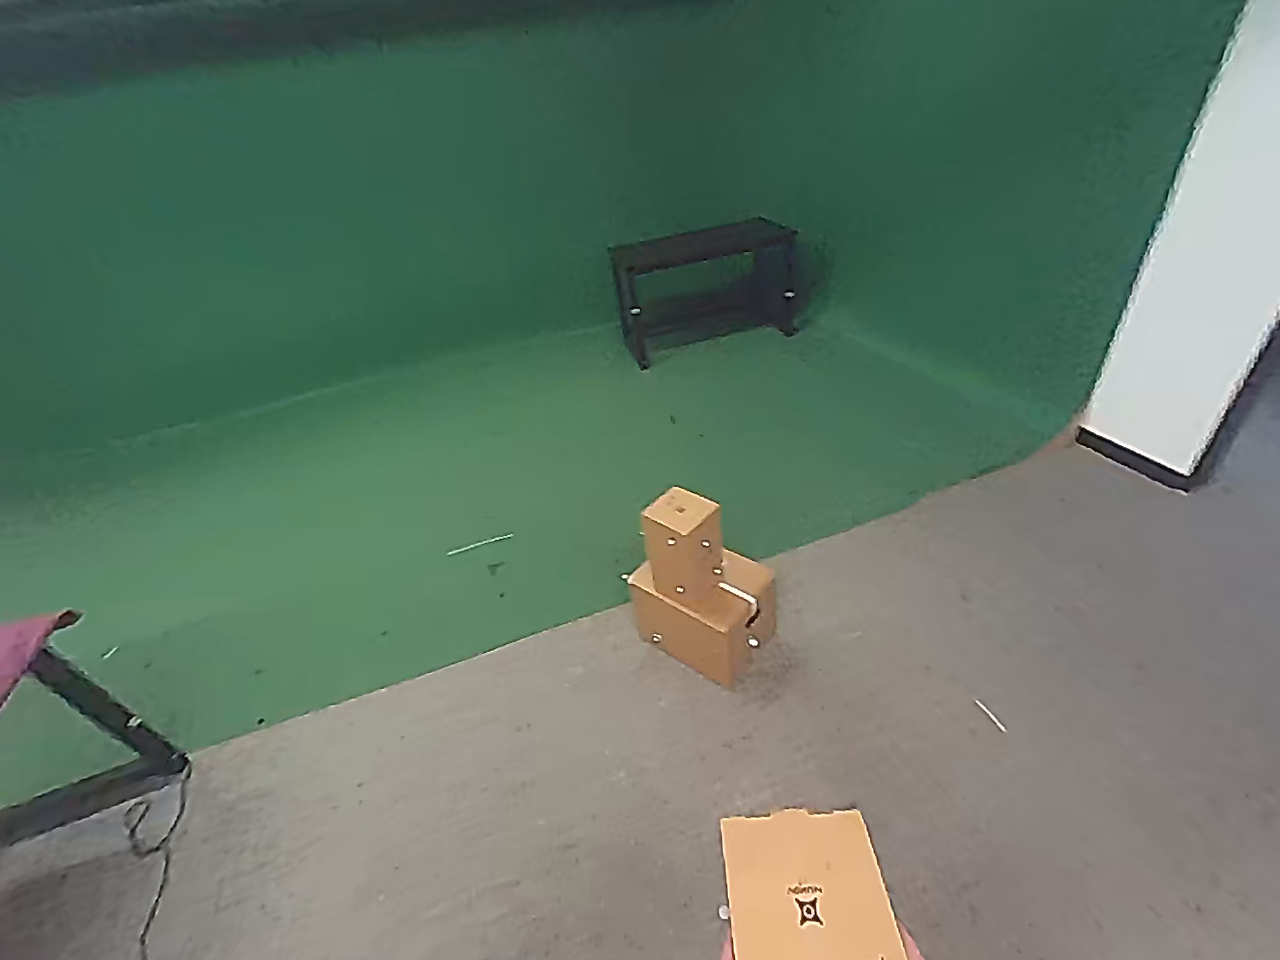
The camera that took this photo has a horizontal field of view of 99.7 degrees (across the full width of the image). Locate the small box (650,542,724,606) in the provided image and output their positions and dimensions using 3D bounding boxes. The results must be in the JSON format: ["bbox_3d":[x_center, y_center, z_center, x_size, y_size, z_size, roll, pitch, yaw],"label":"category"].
[{"bbox_3d":[0.157,0.278,1.743,0.179,0.176,0.168,22,47,36],"label":"small box"}]

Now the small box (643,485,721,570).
[{"bbox_3d":[0.133,0.147,1.645,0.179,0.176,0.168,24,47,37],"label":"small box"}]

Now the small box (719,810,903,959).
[{"bbox_3d":[0.180,0.503,0.603,0.168,0.176,0.179,-7,34,5],"label":"small box"}]
